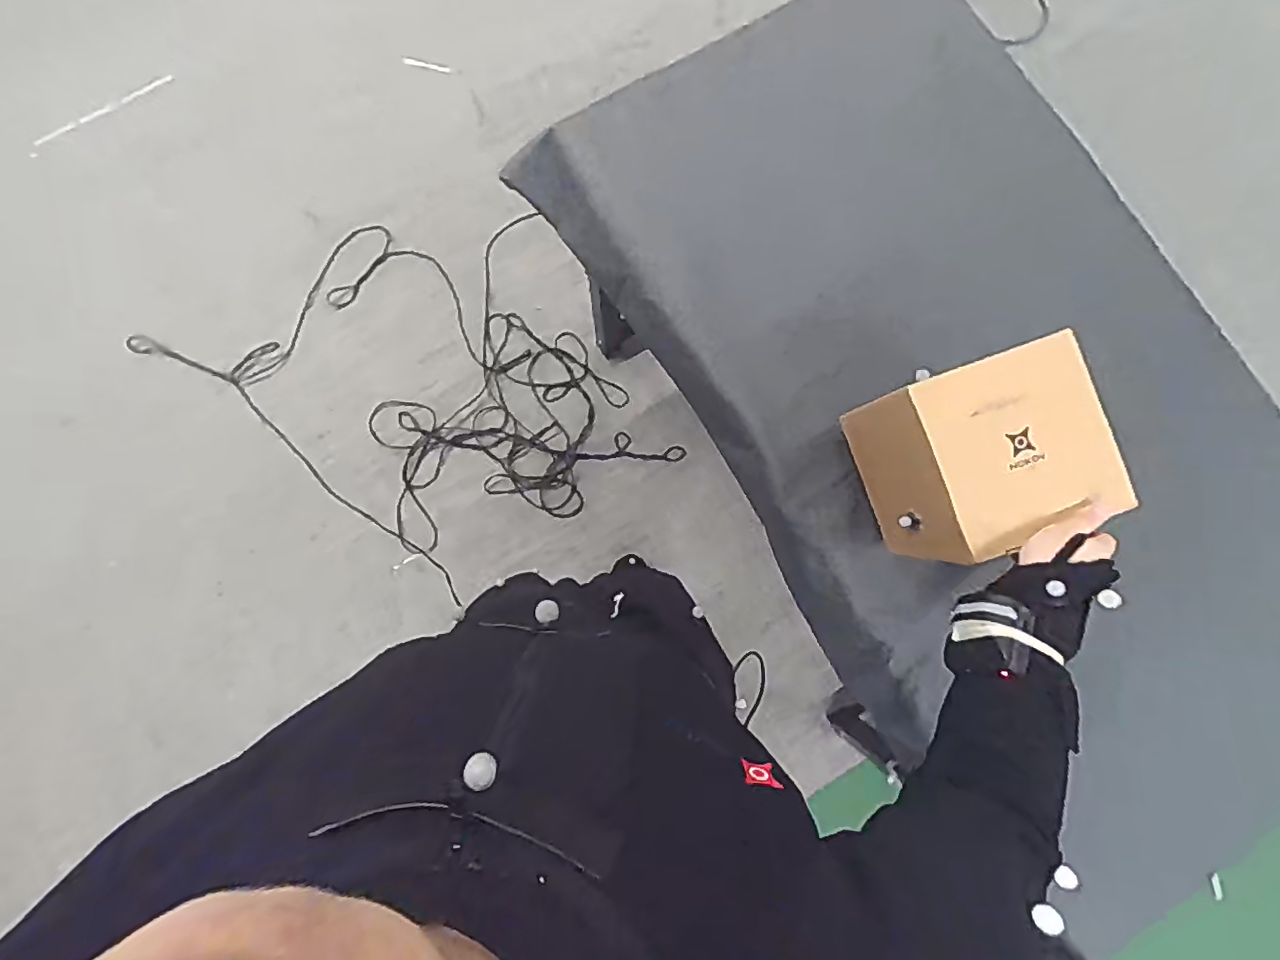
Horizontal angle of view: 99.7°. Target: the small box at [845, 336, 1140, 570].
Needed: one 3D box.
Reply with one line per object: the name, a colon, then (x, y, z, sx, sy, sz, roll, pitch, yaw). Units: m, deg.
small box: (0.347, -0.023, 0.569, 0.168, 0.176, 0.179, -20, 87, -2)
